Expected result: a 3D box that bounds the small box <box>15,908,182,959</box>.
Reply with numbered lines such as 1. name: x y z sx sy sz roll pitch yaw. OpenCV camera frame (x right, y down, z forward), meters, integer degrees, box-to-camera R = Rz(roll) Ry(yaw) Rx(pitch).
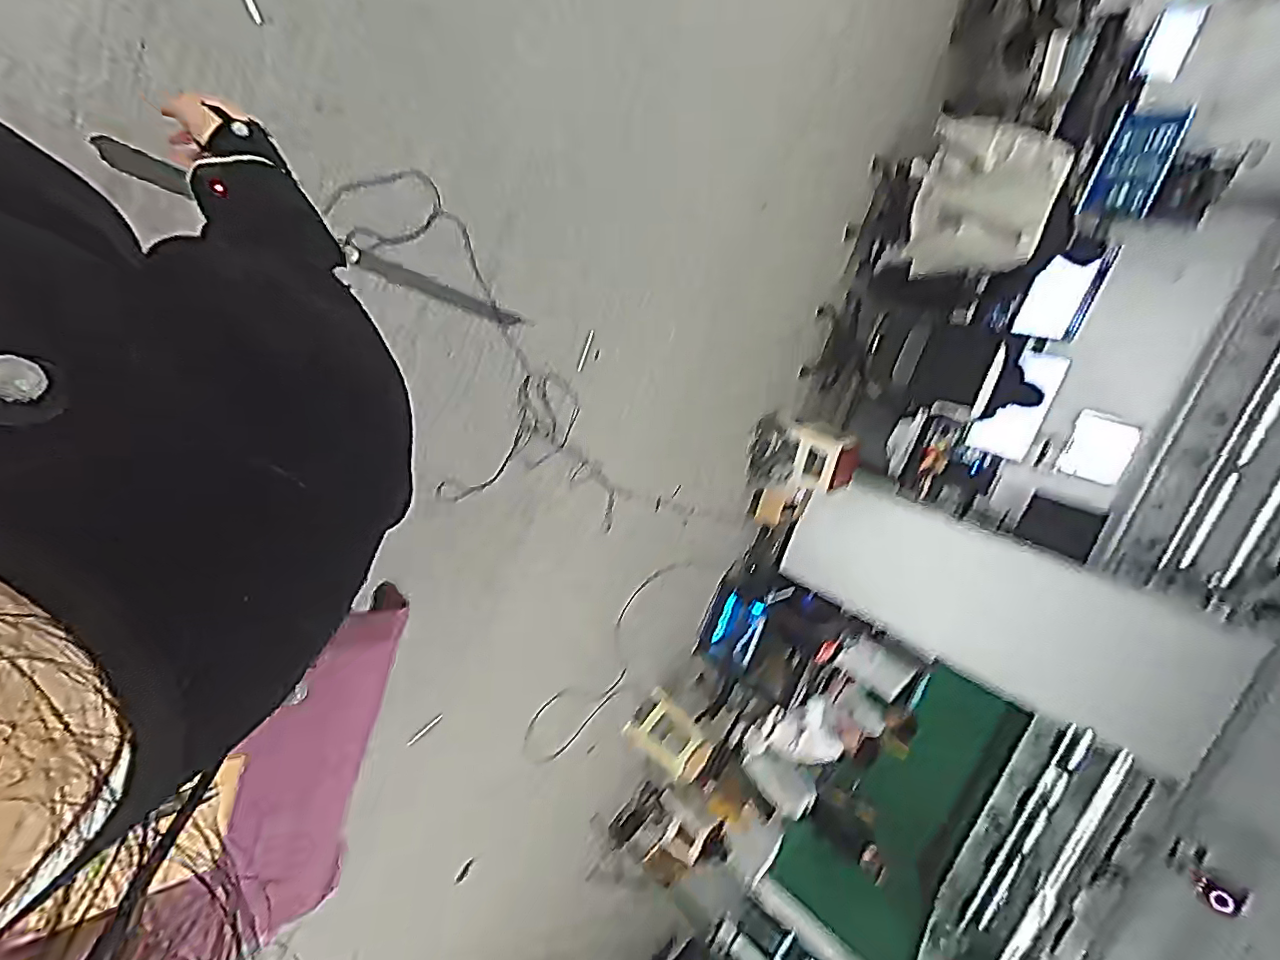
1. small box: -0.739 0.729 0.724 0.168 0.176 0.179 6 104 -52
